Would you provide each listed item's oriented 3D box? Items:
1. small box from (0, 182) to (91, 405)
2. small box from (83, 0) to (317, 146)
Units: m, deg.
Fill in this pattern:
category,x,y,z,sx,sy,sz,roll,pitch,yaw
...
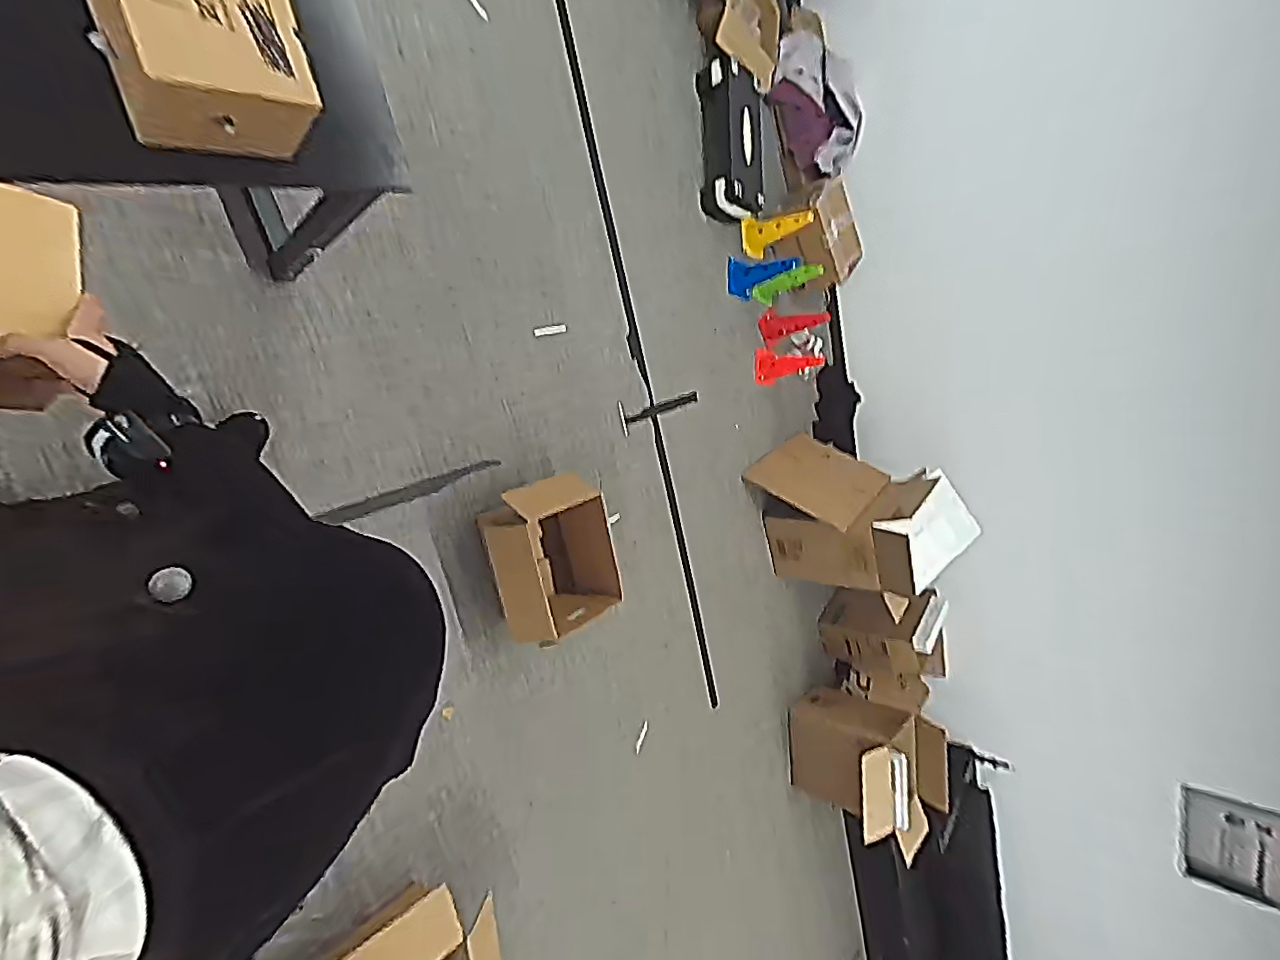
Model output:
category,x,y,z,sx,sy,sz,roll,pitch,yaw
small box,-0.647,-0.173,0.493,0.179,0.176,0.168,-1,79,-56
small box,-0.536,-0.534,0.660,0.179,0.176,0.168,-24,107,-41
